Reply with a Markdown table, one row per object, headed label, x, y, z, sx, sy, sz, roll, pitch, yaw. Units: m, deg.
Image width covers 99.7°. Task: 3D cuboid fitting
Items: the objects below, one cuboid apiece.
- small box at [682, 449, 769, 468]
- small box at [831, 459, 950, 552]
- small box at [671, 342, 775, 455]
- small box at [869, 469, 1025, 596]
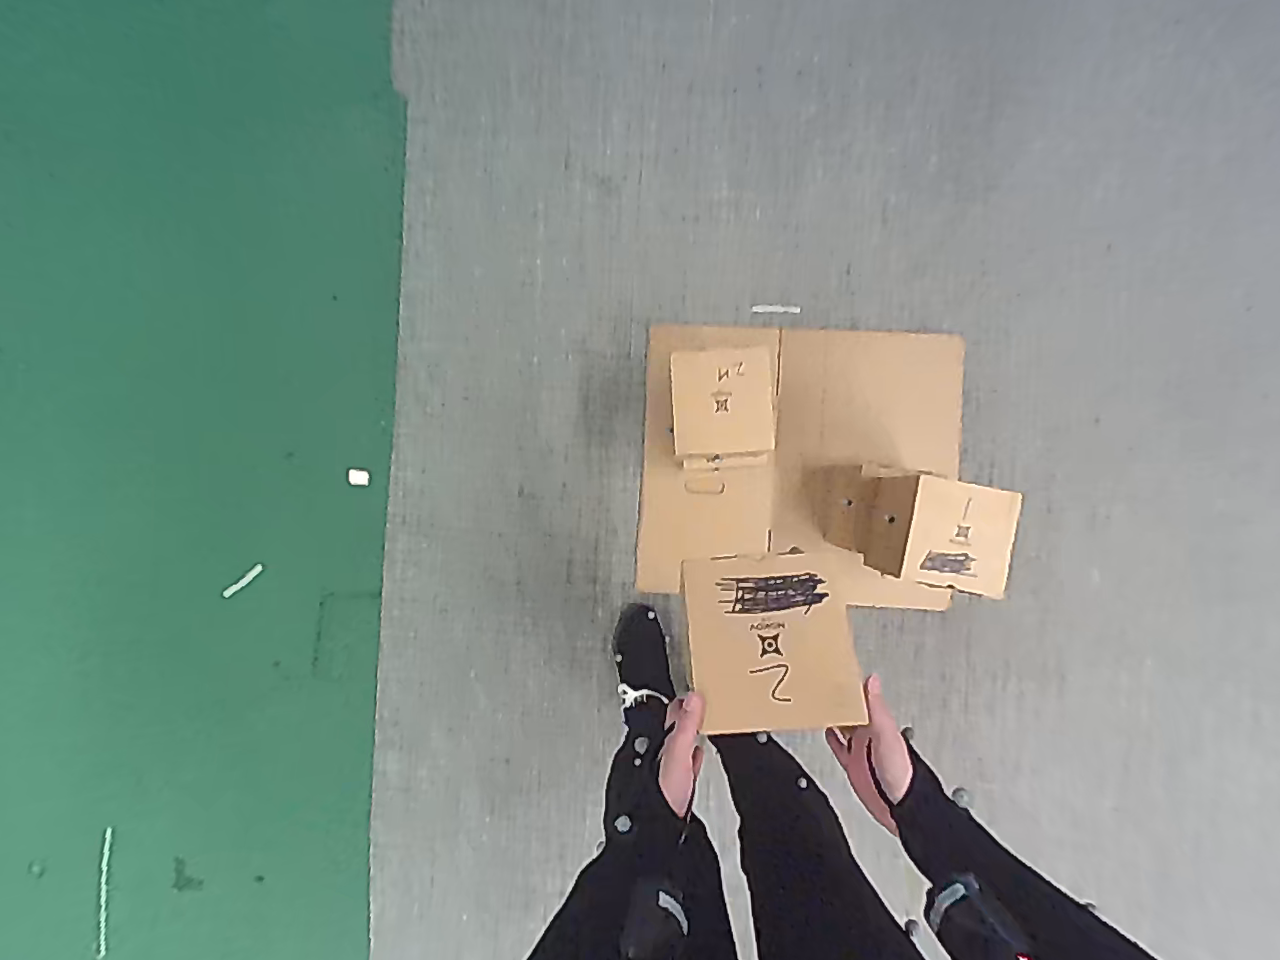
| label | x | y | z | sx | sy | sz | roll | pitch | yaw |
| --- | --- | --- | --- | --- | --- | --- | --- | --- | --- |
| small box | 0.168 | -0.118 | 1.126 | 0.168 | 0.176 | 0.179 | -4 | 89 | 3 |
| small box | 0.500 | 0.057 | 1.104 | 0.168 | 0.176 | 0.179 | 8 | 89 | 4 |
| small box | 0.140 | -0.135 | 0.962 | 0.168 | 0.176 | 0.179 | -3 | 89 | 2 |
| small box | 0.517 | 0.085 | 0.938 | 0.168 | 0.176 | 0.179 | 12 | 89 | 3 |
